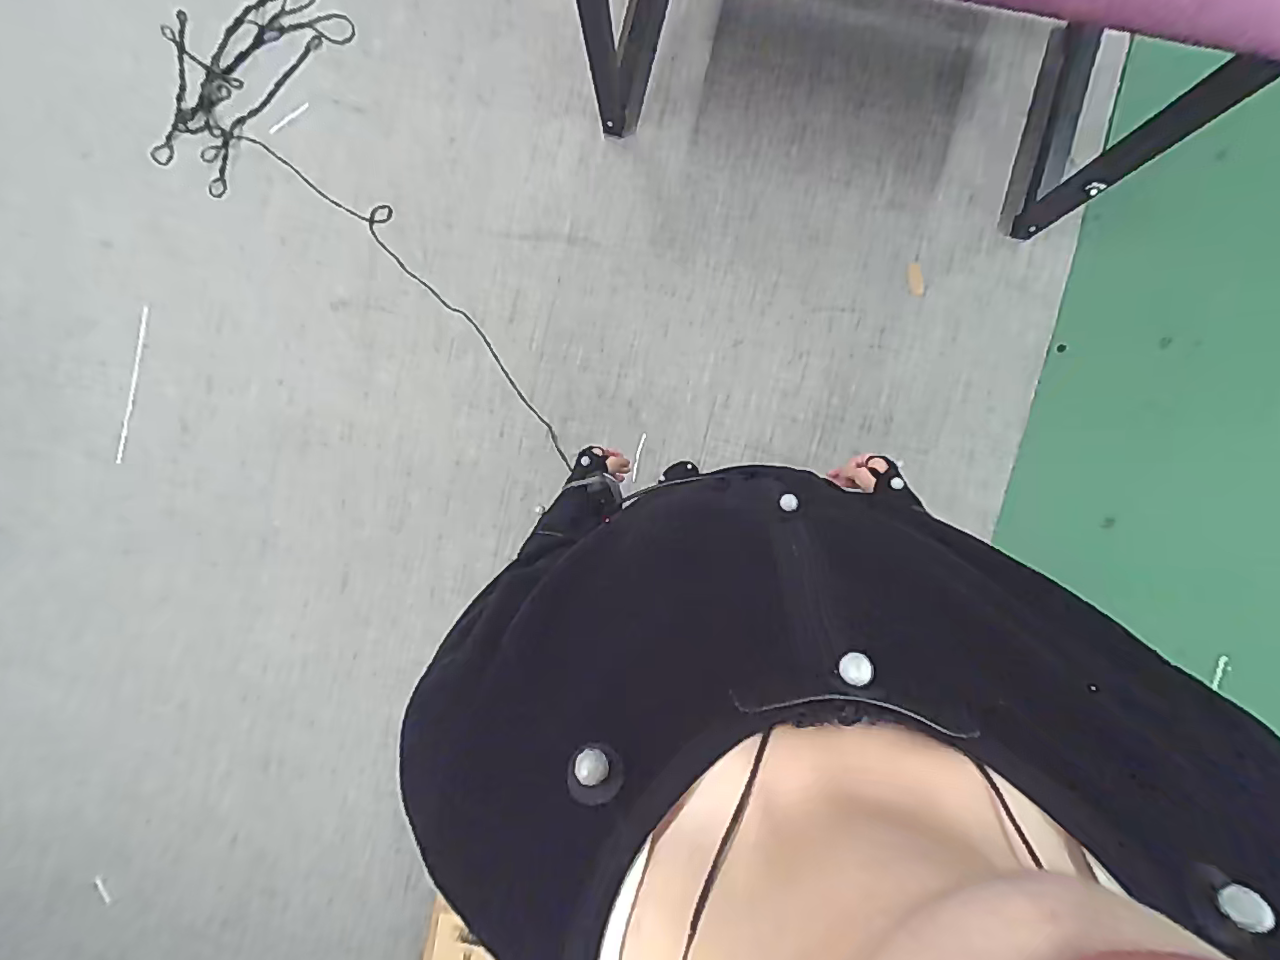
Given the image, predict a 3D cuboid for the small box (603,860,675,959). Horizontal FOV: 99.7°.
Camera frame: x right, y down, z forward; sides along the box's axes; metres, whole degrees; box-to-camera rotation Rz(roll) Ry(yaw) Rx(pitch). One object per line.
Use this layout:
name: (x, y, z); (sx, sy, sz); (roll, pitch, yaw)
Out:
small box: (-0.011, 1.177, 1.451); (0.168, 0.176, 0.179); (19, 93, 4)

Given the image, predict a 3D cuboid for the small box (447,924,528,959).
small box: (-0.431, 1.327, 1.478); (0.179, 0.176, 0.168); (30, 93, 4)
